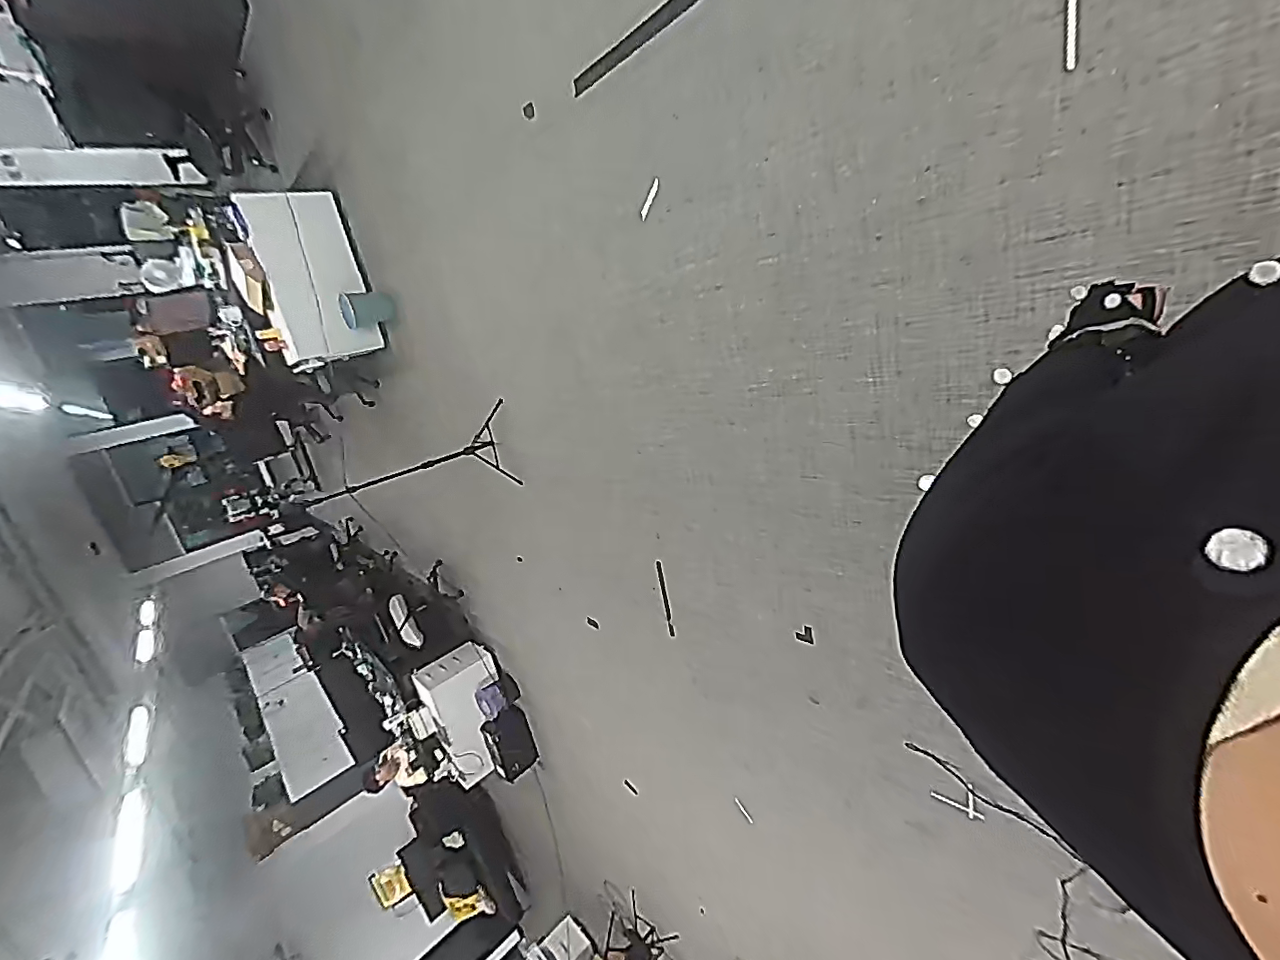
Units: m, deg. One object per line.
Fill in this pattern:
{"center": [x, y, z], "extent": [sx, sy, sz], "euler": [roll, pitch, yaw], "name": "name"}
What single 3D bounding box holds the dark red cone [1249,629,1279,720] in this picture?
{"center": [1.126, 0.431, 0.872], "extent": [0.201, 0.394, 0.202], "euler": [7, 116, 49], "name": "dark red cone"}
